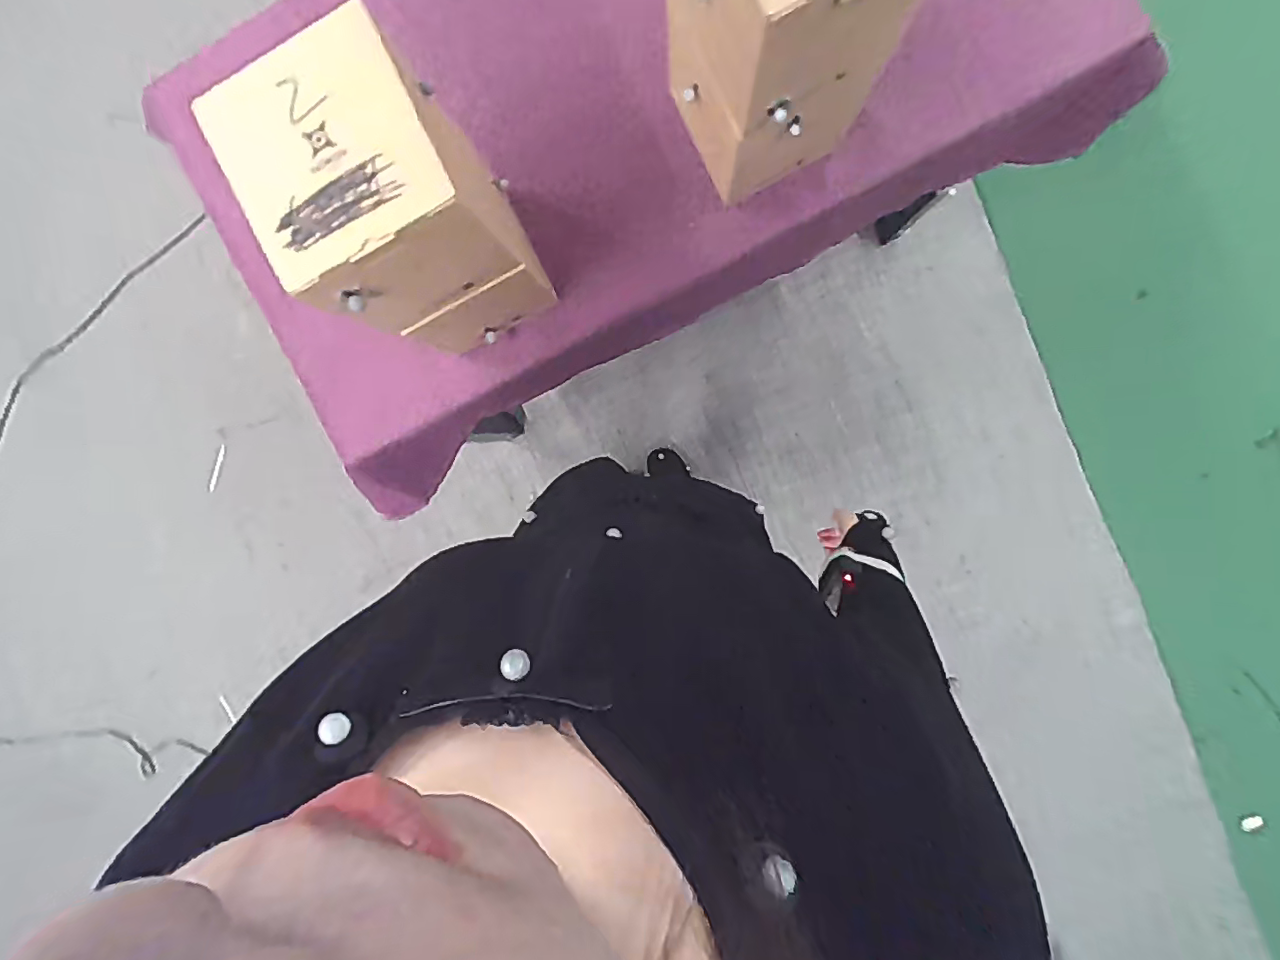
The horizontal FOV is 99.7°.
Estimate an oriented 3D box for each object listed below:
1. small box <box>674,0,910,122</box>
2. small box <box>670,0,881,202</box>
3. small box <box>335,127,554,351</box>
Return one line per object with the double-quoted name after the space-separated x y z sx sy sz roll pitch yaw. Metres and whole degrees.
0.132 -0.459 0.472 0.168 0.176 0.179 -27 92 6 "small box"
0.144 -0.472 0.636 0.168 0.176 0.179 -26 92 7 "small box"
-0.229 -0.283 0.681 0.168 0.176 0.179 -25 93 6 "small box"
